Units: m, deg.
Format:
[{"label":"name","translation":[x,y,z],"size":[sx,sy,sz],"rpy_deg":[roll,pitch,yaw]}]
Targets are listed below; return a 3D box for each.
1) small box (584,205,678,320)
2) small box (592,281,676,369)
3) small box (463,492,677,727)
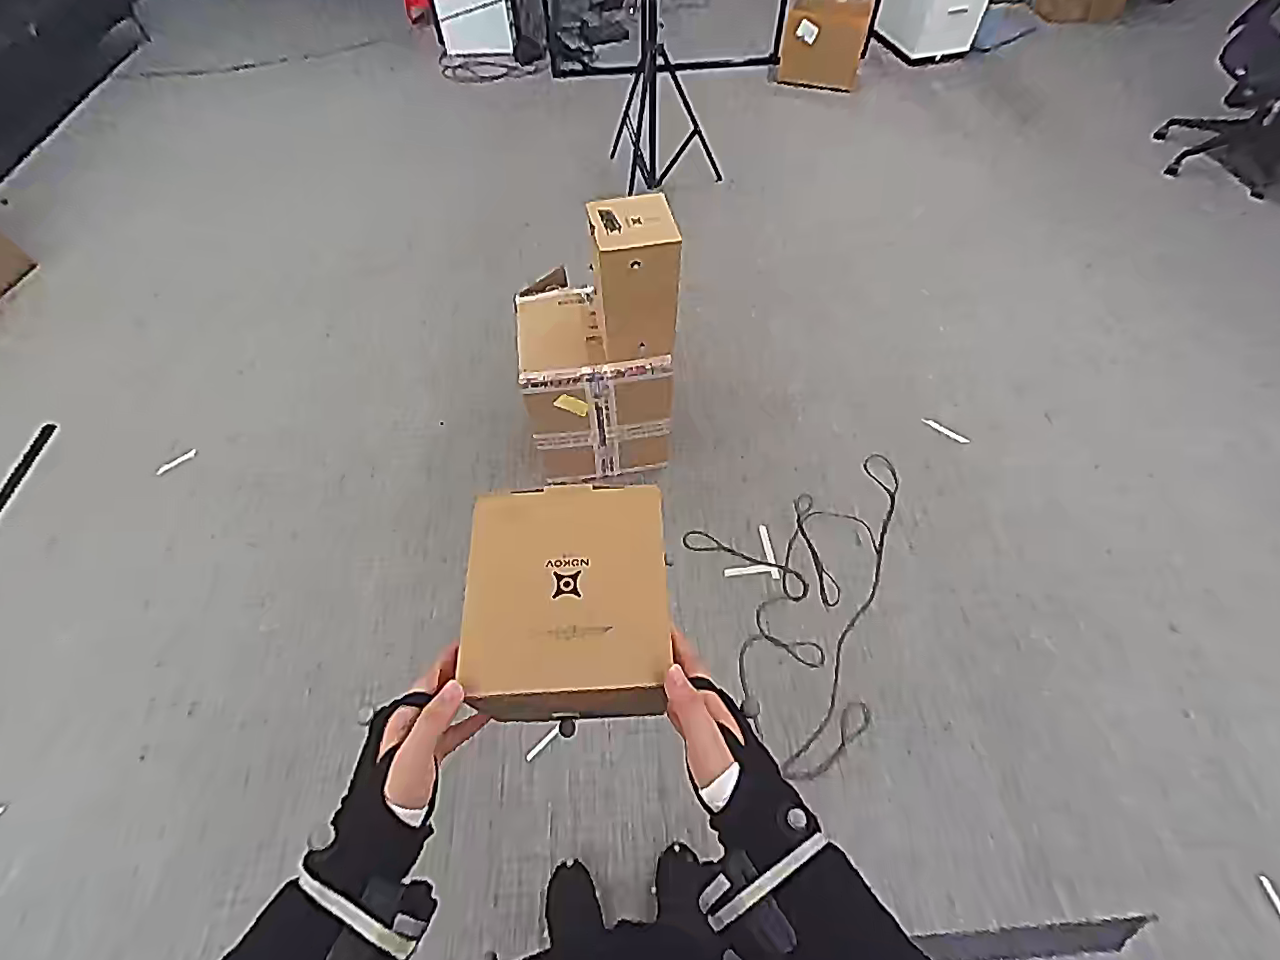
[{"label":"small box","translation":[-0.020,-0.482,1.214],"size":[0.179,0.176,0.168],"rpy_deg":[-11,61,-7]},{"label":"small box","translation":[-0.019,-0.403,1.360],"size":[0.179,0.176,0.168],"rpy_deg":[-11,61,-7]},{"label":"small box","translation":[-0.058,0.129,0.521],"size":[0.168,0.176,0.179],"rpy_deg":[-3,59,-2]}]
